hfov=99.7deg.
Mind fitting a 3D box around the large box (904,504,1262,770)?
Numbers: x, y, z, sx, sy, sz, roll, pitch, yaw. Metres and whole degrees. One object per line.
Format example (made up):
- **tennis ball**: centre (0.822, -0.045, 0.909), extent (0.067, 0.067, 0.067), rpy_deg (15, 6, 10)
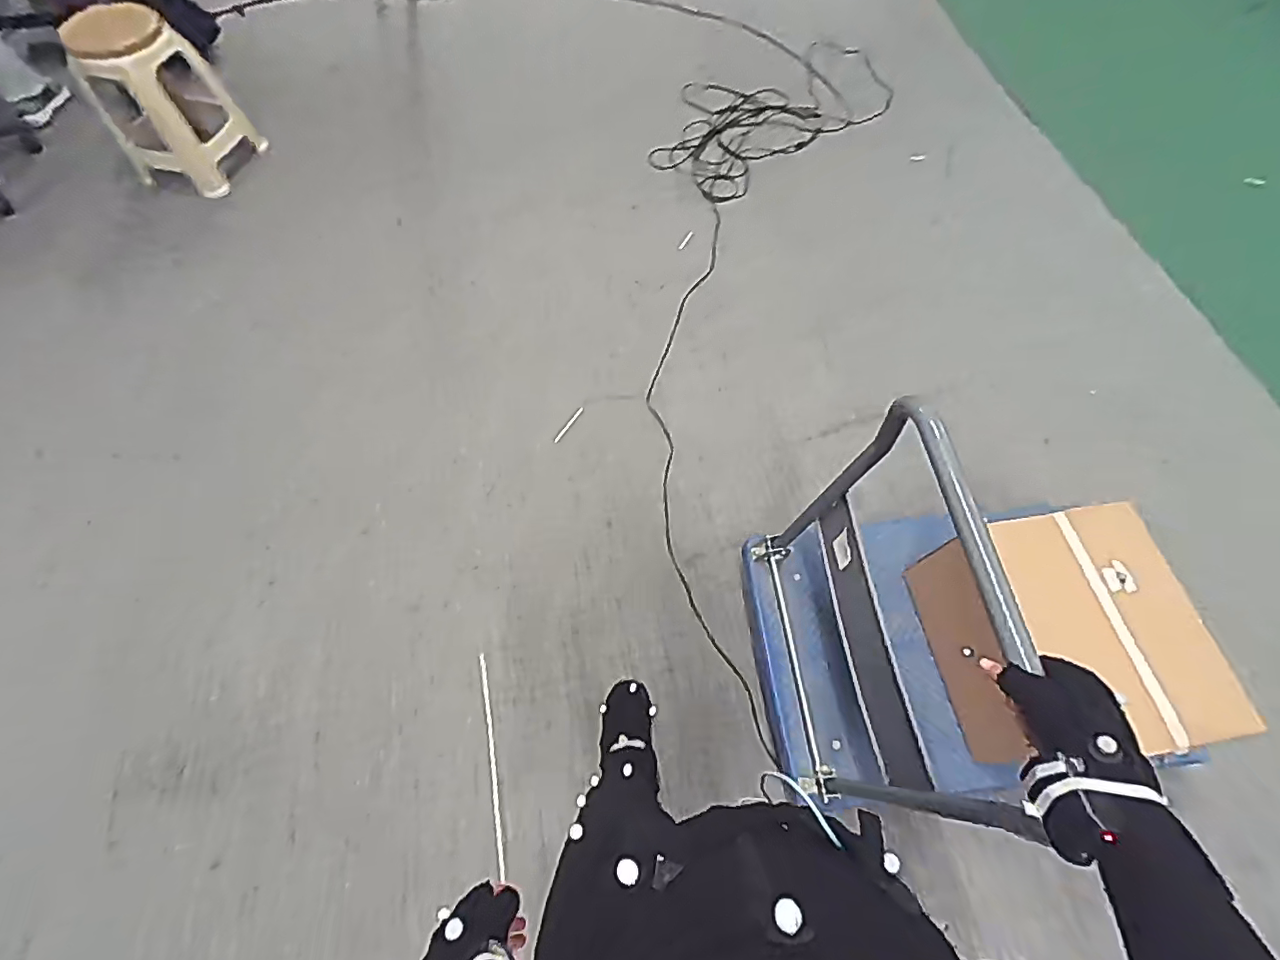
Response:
- **large box**: centre (0.793, 0.309, 1.053), extent (0.320, 0.320, 0.408), rpy_deg (-8, 64, -6)
